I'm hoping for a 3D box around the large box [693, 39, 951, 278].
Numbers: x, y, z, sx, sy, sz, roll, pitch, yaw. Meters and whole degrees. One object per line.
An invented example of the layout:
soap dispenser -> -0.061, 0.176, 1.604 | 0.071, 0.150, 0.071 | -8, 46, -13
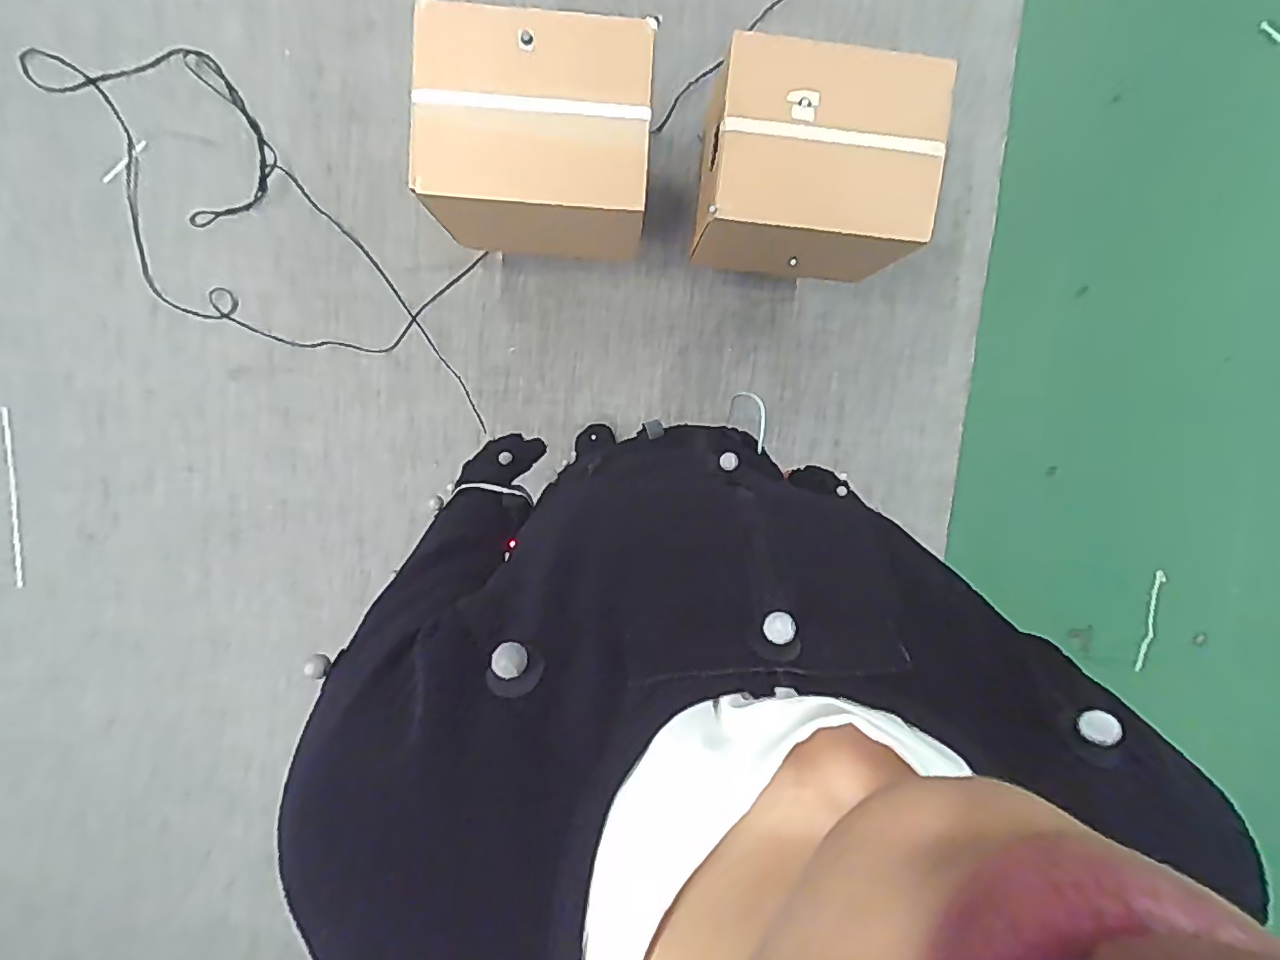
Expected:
large box -> 0.342, -0.626, 1.121 | 0.408, 0.320, 0.320 | 6, 96, -3
